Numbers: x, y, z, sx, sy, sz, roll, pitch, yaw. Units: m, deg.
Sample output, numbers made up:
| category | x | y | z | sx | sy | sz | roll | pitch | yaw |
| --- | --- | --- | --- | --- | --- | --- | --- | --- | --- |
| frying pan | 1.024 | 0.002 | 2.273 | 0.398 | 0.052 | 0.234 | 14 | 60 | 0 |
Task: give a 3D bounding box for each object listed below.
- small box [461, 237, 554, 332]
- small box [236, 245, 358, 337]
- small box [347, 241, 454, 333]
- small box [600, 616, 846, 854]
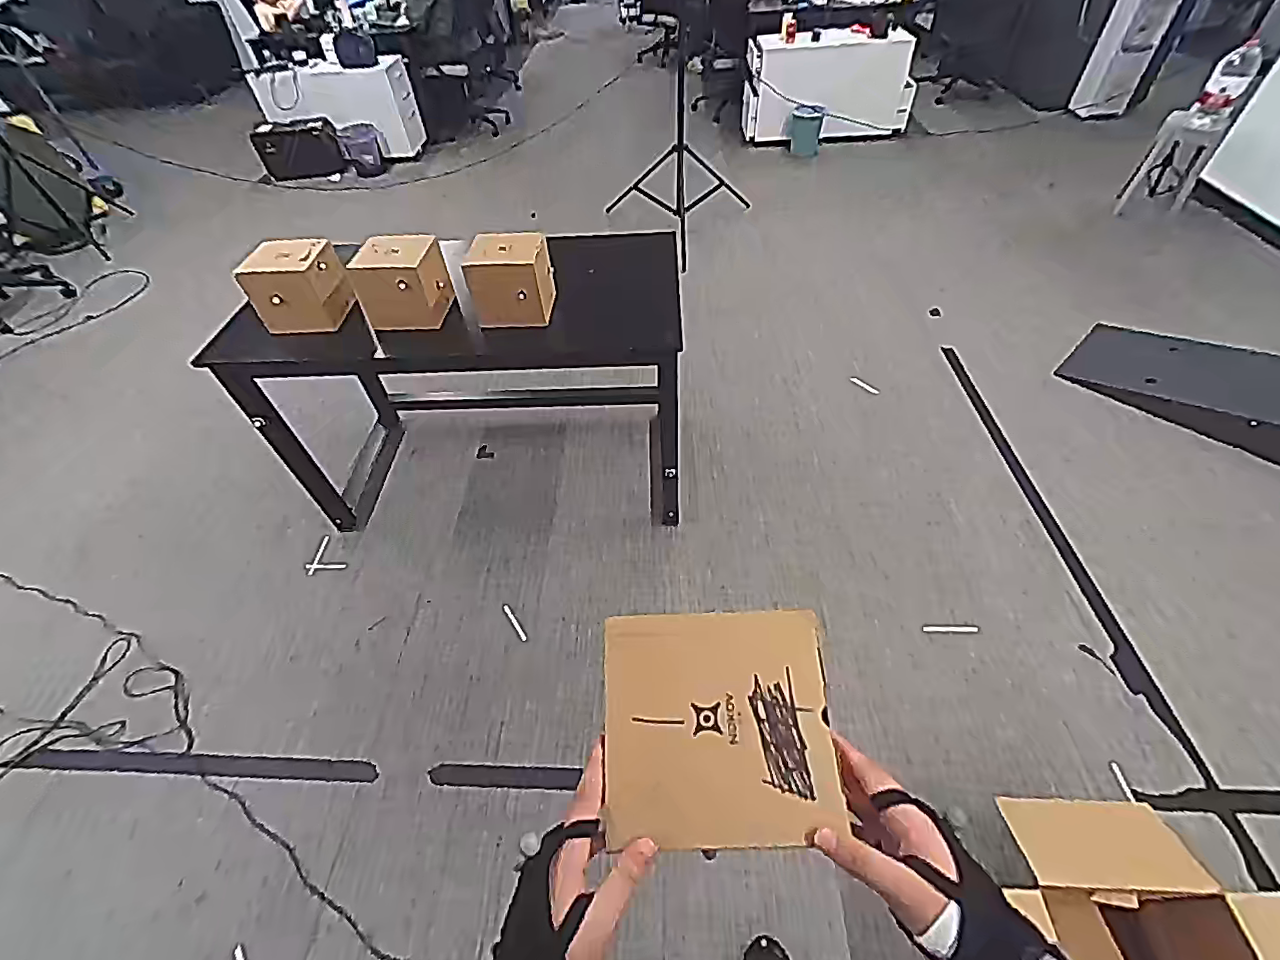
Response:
| category | x | y | z | sx | sy | sz | roll | pitch | yaw |
| --- | --- | --- | --- | --- | --- | --- | --- | --- | --- |
| small box | -0.321 | -0.489 | 1.359 | 0.179 | 0.176 | 0.168 | -2 | 47 | 4 |
| small box | -0.868 | -0.482 | 1.388 | 0.179 | 0.176 | 0.168 | -3 | 49 | 2 |
| small box | -0.595 | -0.488 | 1.374 | 0.179 | 0.176 | 0.168 | 0 | 48 | 4 |
| small box | 0.059 | 0.222 | 0.484 | 0.179 | 0.176 | 0.168 | -2 | 63 | 1 |
